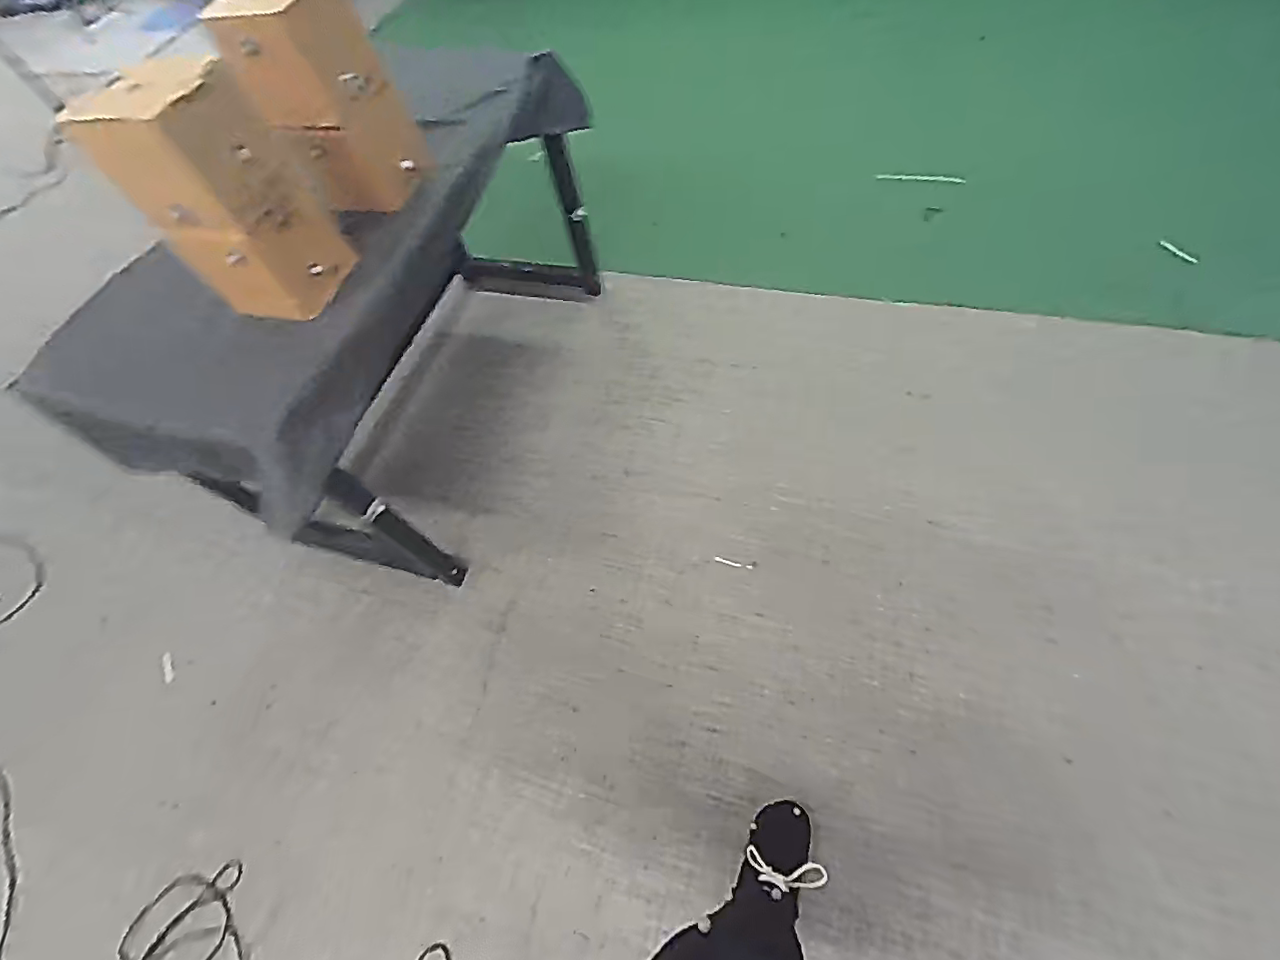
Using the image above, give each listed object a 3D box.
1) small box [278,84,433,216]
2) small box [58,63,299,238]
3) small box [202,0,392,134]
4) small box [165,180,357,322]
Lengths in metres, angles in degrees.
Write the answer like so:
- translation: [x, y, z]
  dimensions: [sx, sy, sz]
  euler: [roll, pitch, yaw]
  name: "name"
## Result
- translation: [-0.551, -0.650, 1.072]
  dimensions: [0.179, 0.176, 0.168]
  euler: [10, 63, 15]
  name: "small box"
- translation: [-0.664, -0.483, 0.805]
  dimensions: [0.179, 0.176, 0.168]
  euler: [8, 61, 13]
  name: "small box"
- translation: [-0.576, -0.728, 0.932]
  dimensions: [0.179, 0.176, 0.168]
  euler: [12, 64, 16]
  name: "small box"
- translation: [-0.645, -0.397, 0.944]
  dimensions: [0.179, 0.176, 0.168]
  euler: [9, 62, 14]
  name: "small box"
